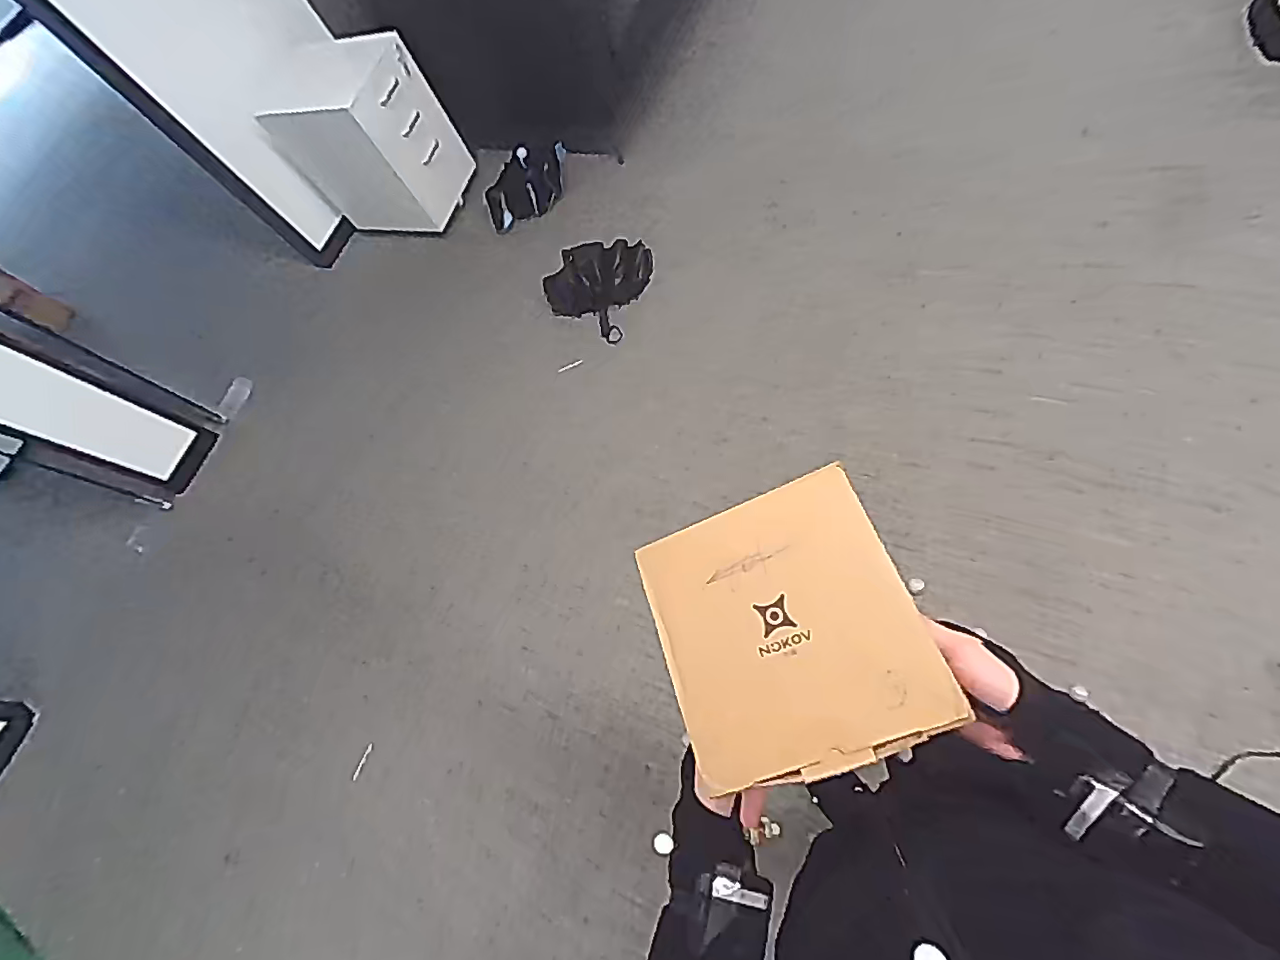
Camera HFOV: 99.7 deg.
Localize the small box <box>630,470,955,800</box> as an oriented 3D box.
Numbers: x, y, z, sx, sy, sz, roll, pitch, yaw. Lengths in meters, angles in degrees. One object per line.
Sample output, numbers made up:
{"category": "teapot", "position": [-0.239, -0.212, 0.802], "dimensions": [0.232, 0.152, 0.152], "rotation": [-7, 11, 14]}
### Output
{"category": "small box", "position": [0.117, 0.124, 0.429], "dimensions": [0.168, 0.176, 0.179], "rotation": [-25, 60, 13]}
